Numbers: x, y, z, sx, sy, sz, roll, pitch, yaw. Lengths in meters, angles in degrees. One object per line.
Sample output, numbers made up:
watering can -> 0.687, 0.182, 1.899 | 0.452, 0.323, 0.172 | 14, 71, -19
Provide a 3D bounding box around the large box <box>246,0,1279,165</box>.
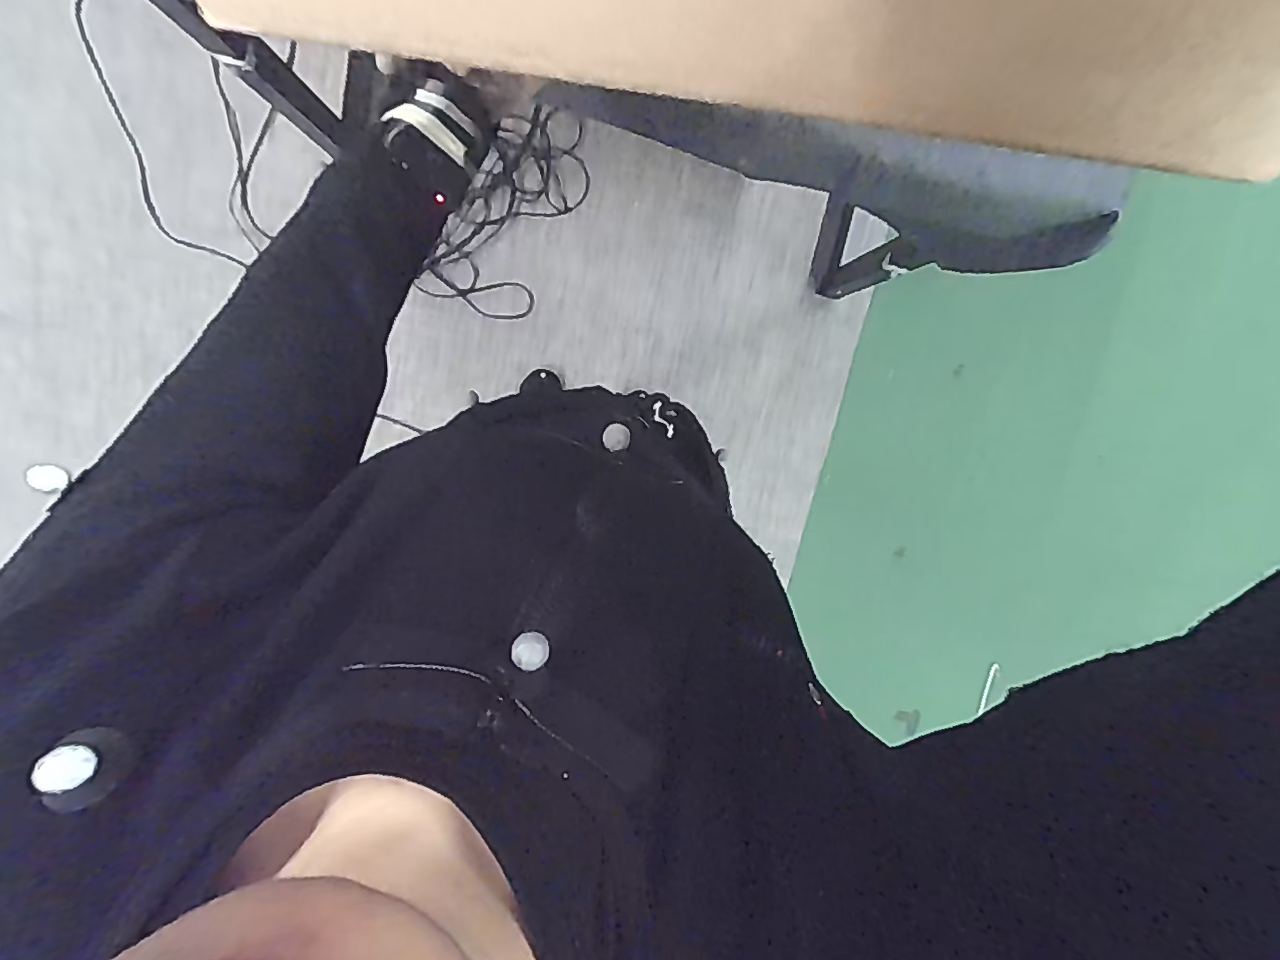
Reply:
large box -> 0.063, -0.352, 0.193 | 0.408, 0.320, 0.320 | 12, 140, 8
